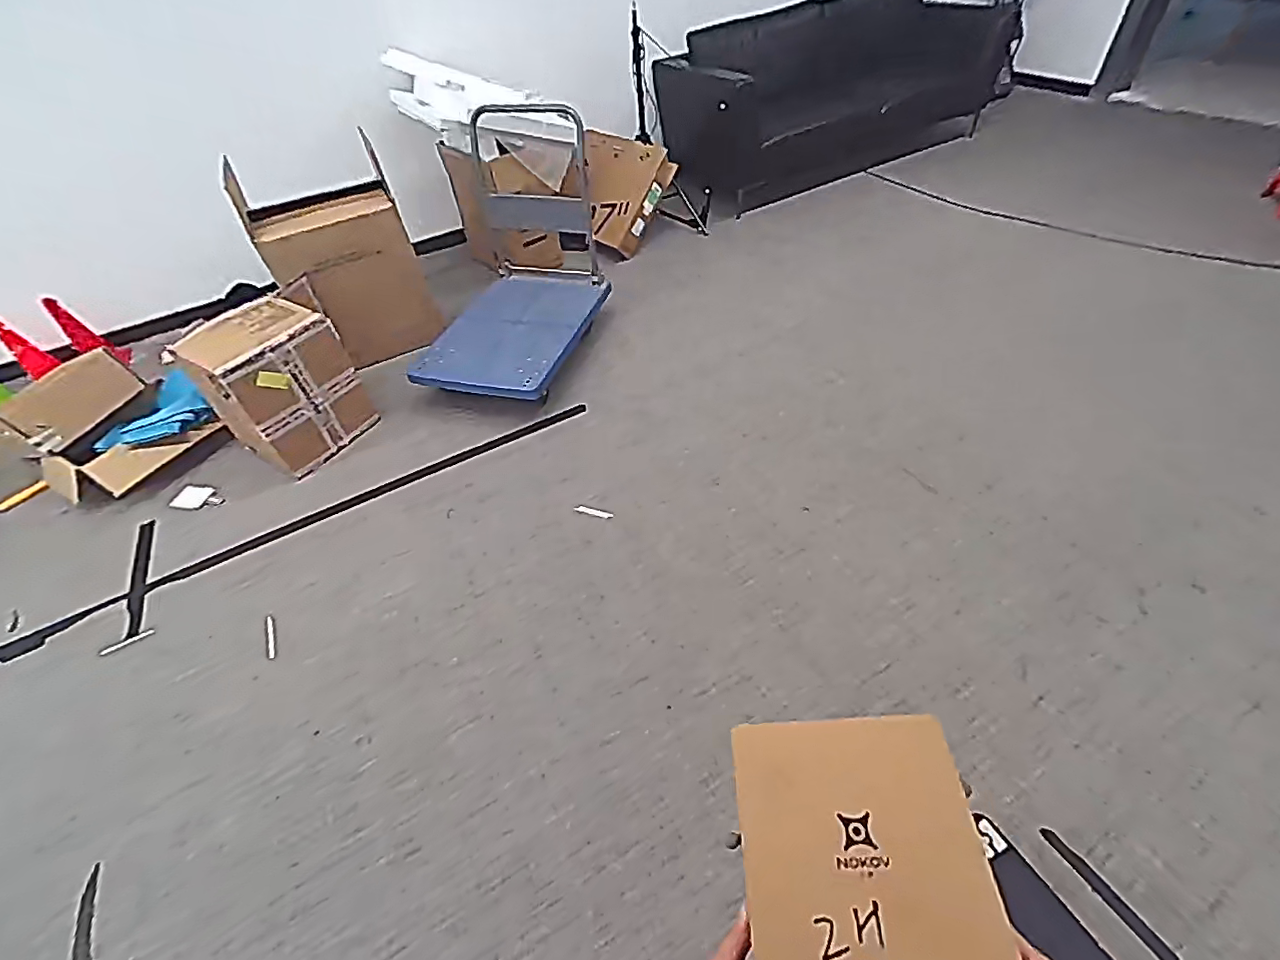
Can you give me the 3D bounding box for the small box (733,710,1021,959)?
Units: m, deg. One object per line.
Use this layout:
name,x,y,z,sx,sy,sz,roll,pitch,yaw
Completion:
small box,0.168,0.308,0.440,0.168,0.176,0.179,-7,48,9

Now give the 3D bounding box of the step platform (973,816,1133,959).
step platform,0.697,0.910,0.817,0.286,0.204,0.684,-25,48,-17
